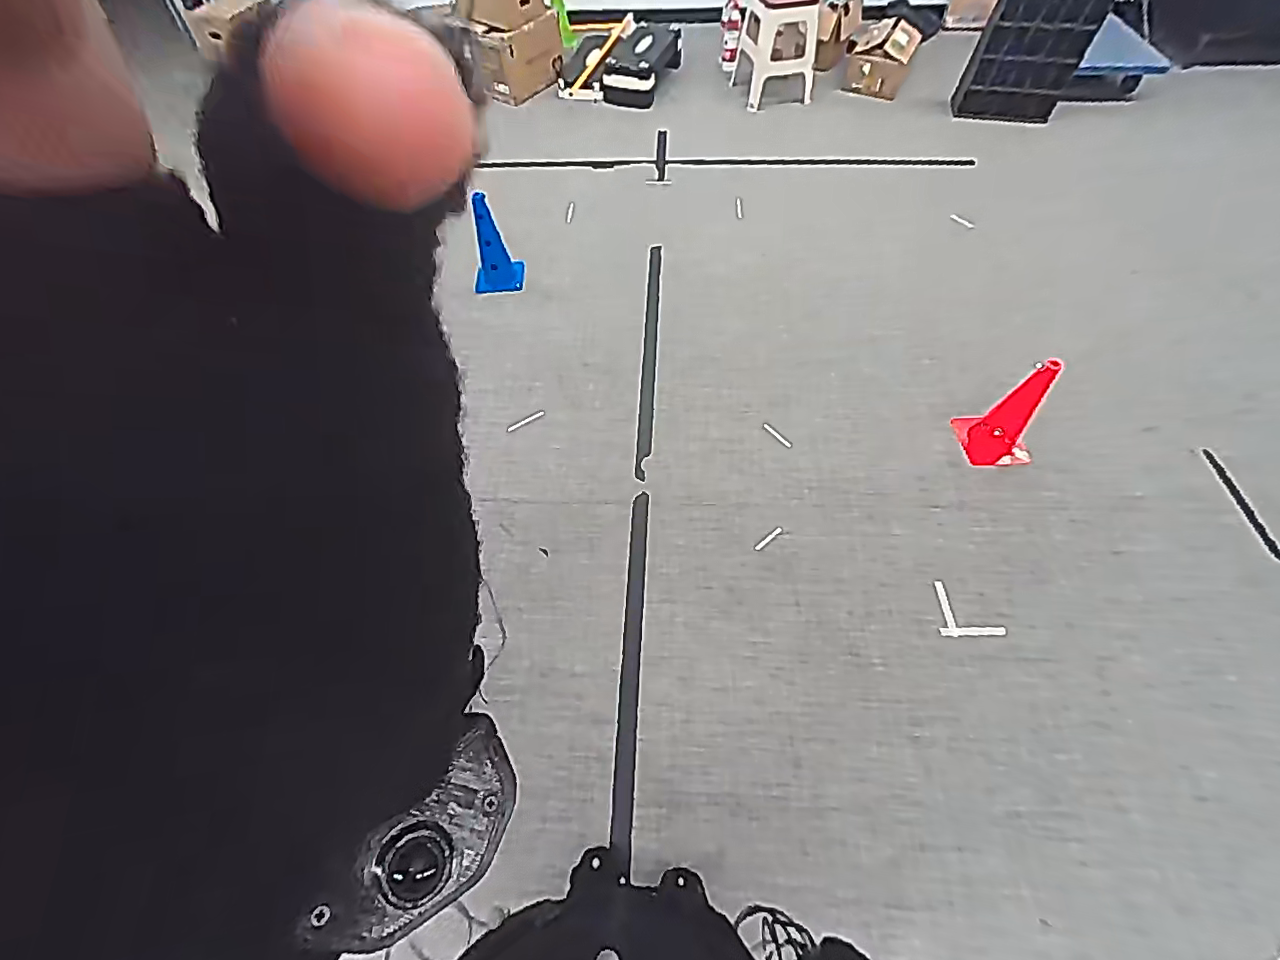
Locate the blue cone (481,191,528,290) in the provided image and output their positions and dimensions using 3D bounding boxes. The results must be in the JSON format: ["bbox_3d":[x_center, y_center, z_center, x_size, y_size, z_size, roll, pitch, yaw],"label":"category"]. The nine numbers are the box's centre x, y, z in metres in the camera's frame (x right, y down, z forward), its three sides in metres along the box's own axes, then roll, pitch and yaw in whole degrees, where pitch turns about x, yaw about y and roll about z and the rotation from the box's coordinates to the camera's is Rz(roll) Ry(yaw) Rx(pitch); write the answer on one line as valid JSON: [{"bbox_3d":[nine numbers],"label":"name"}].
[{"bbox_3d":[-0.581,-0.965,2.166,0.192,0.380,0.193,-3,57,0],"label":"blue cone"}]

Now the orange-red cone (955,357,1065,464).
[{"bbox_3d":[1.156,-0.231,1.639,0.198,0.360,0.199,-2,55,-1],"label":"orange-red cone"}]
